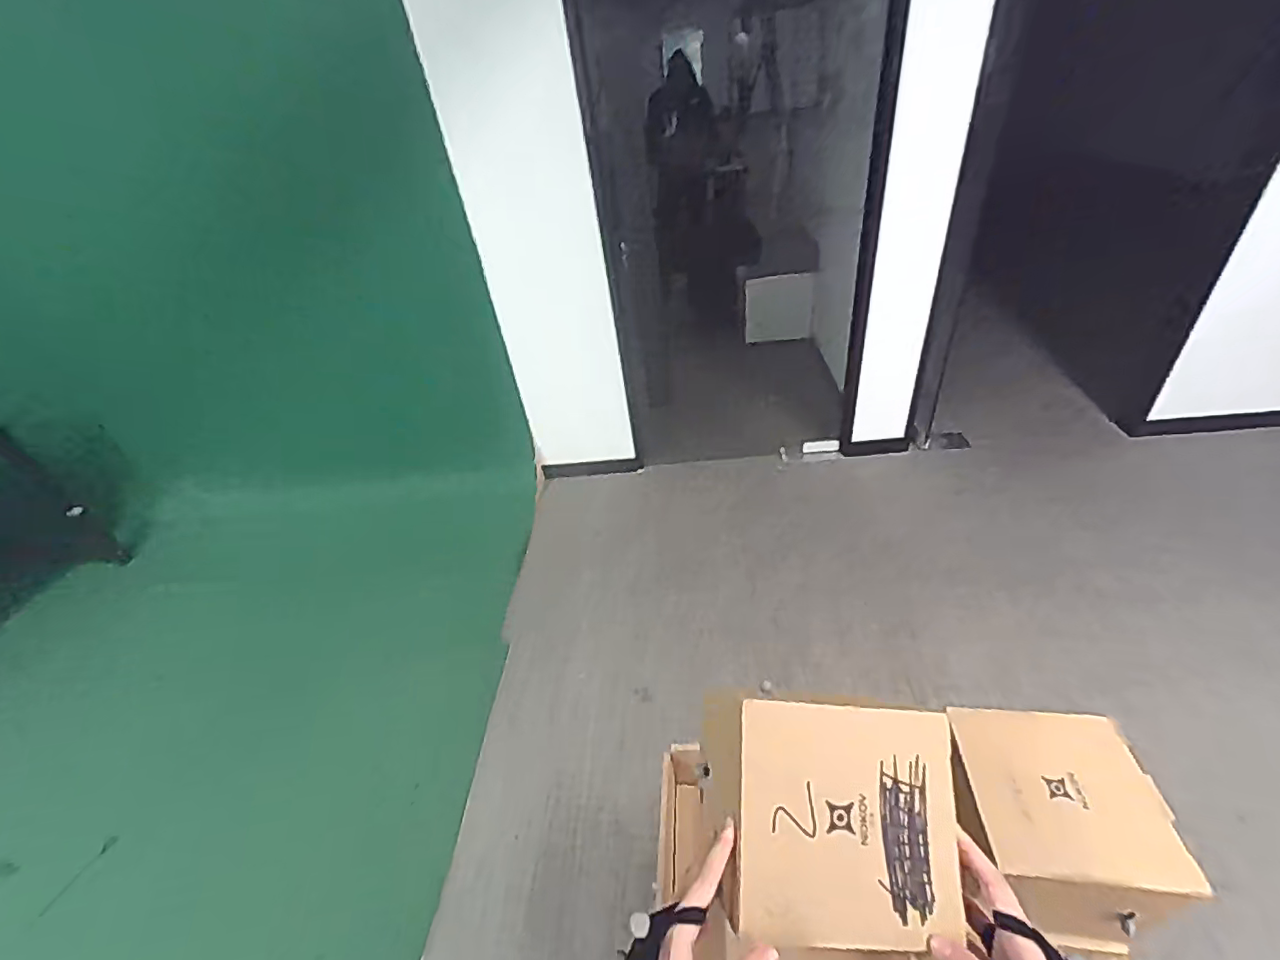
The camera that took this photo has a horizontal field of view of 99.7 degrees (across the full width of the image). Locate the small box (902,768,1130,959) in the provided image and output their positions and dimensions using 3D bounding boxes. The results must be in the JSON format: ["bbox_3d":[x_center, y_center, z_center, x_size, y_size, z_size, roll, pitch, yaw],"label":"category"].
[{"bbox_3d":[0.446,0.492,0.685,0.179,0.176,0.168,0,39,11],"label":"small box"}]

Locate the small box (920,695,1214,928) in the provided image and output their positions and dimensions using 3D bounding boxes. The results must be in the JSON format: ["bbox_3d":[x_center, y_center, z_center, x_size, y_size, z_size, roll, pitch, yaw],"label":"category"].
[{"bbox_3d":[0.433,0.359,0.590,0.179,0.176,0.168,-1,38,11],"label":"small box"}]
